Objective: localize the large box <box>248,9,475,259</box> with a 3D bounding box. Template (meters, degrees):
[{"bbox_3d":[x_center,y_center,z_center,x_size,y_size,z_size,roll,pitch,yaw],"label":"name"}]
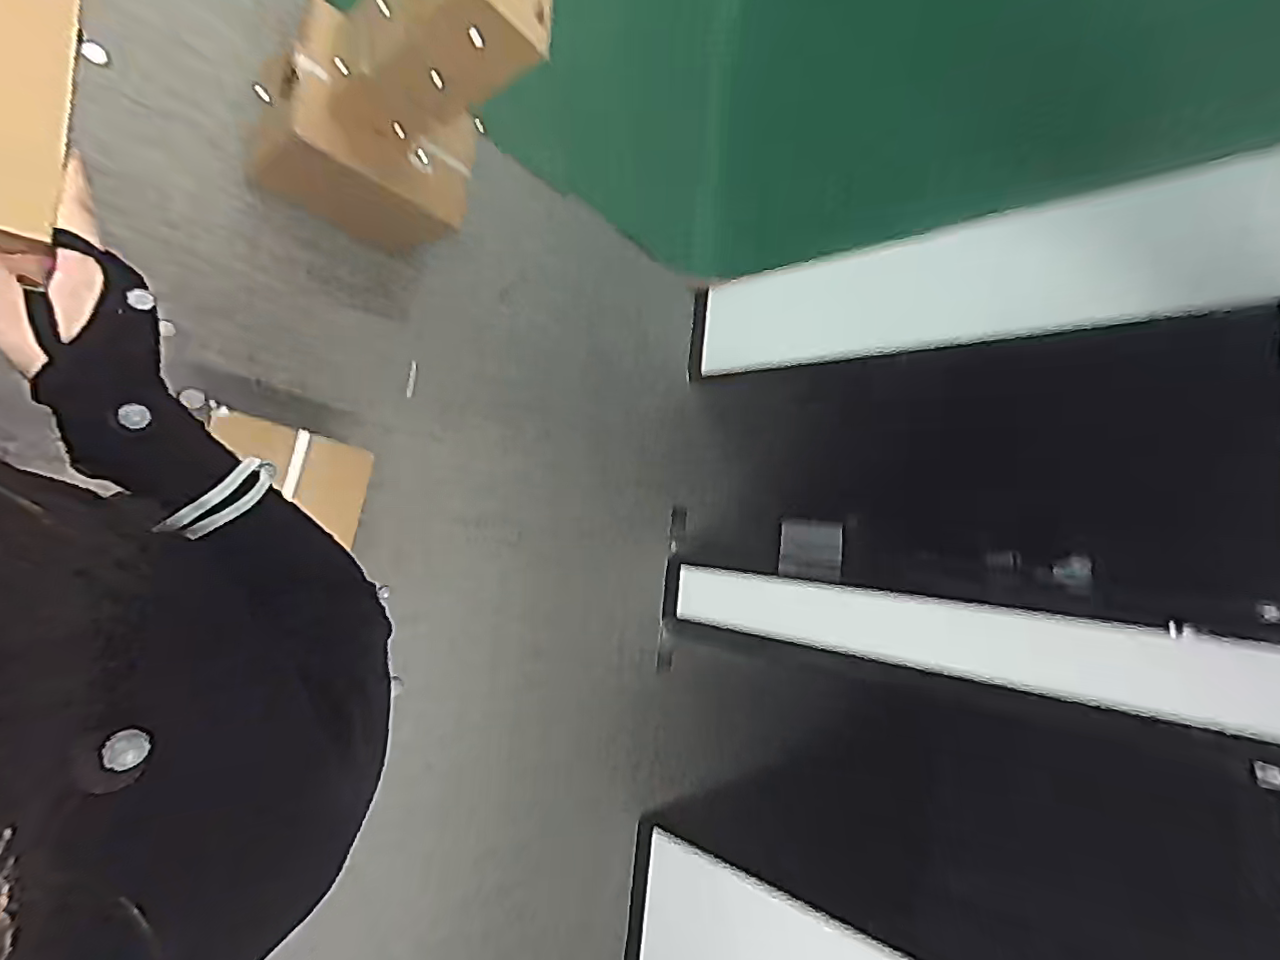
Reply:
[{"bbox_3d":[-0.691,-0.823,1.367,0.408,0.320,0.320,14,80,-52],"label":"large box"}]

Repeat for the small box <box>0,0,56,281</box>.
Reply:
[{"bbox_3d":[-0.454,-0.230,0.302,0.168,0.176,0.179,3,90,-50],"label":"small box"}]

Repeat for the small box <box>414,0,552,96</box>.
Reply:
[{"bbox_3d":[-0.279,-0.840,0.965,0.179,0.176,0.168,9,84,-51],"label":"small box"}]

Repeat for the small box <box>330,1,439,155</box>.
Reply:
[{"bbox_3d":[-0.541,-0.847,1.163,0.168,0.176,0.179,12,81,-52],"label":"small box"}]
